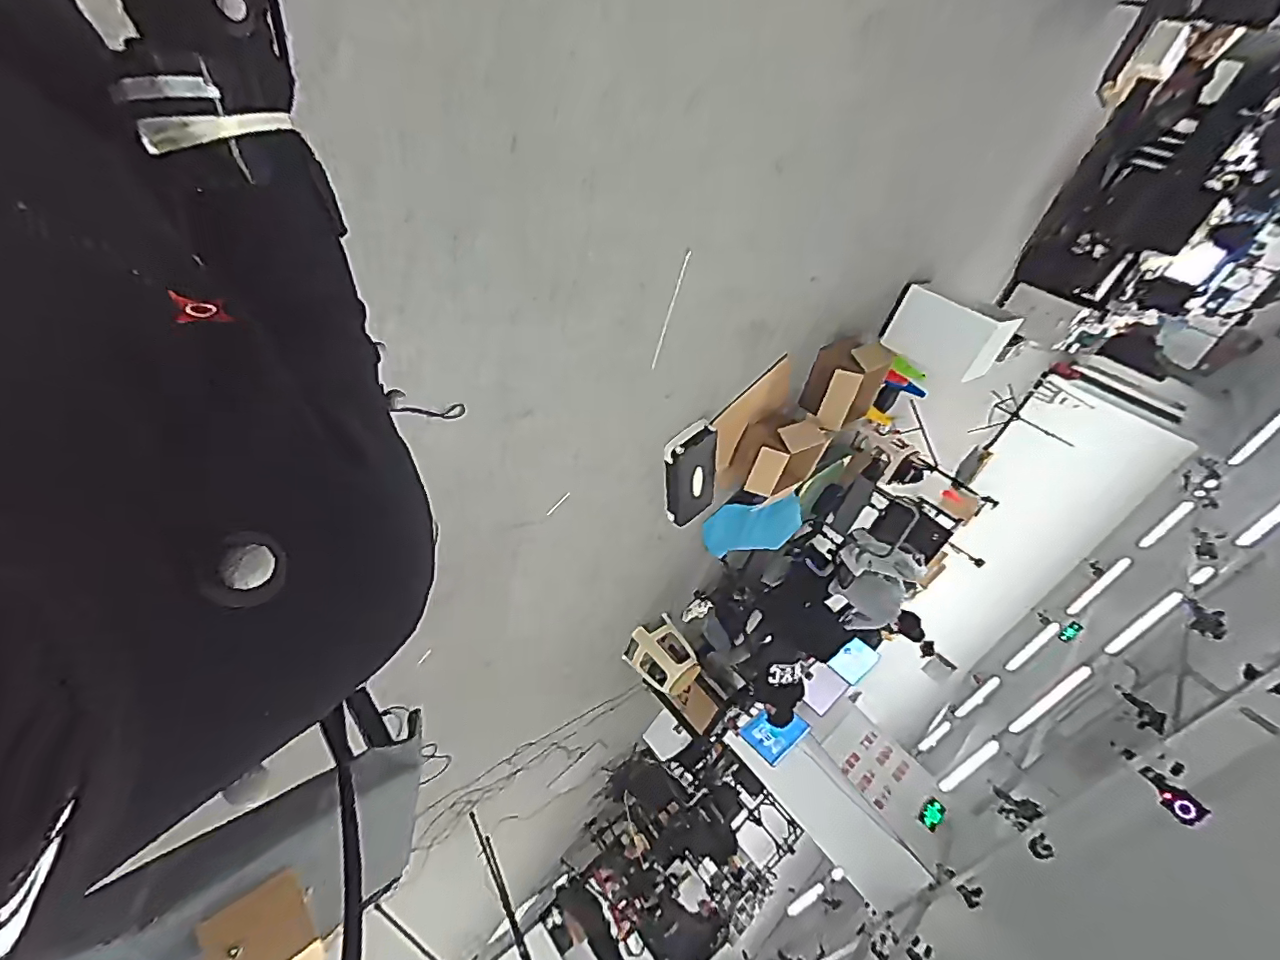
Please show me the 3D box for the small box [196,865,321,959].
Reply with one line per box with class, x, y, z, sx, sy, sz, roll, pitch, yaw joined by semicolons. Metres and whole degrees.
small box;-0.803;0.970;1.138;0.179;0.176;0.168;-20;142;-40
